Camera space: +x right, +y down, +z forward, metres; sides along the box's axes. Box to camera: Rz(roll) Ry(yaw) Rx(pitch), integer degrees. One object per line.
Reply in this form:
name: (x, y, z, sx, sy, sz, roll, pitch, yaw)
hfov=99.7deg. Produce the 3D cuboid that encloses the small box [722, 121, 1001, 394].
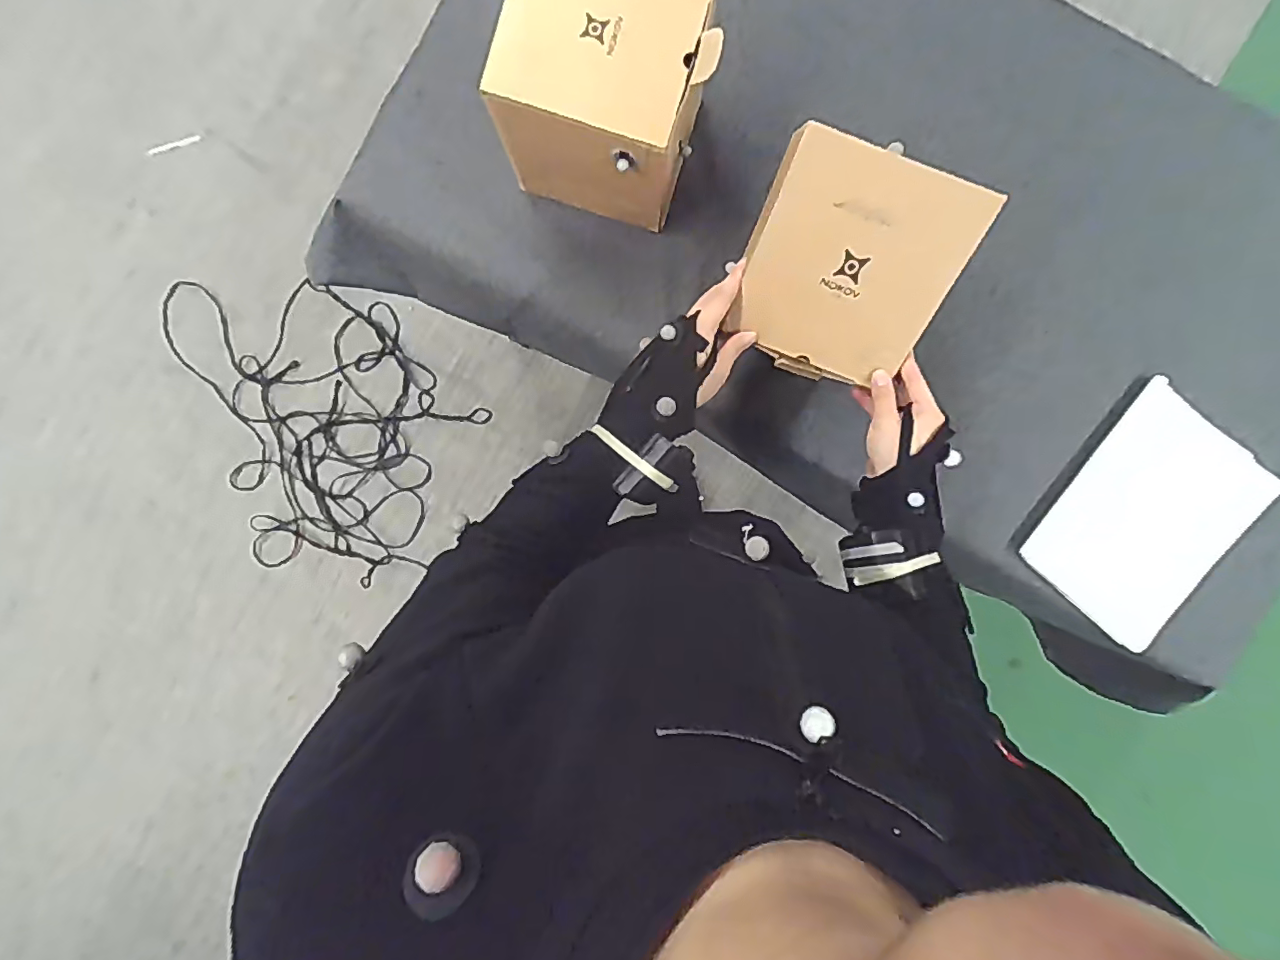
small box: (0.191, -0.214, 0.524, 0.168, 0.176, 0.179, 20, 120, -1)

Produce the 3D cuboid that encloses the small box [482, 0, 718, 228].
small box: (-0.035, -0.389, 0.554, 0.179, 0.176, 0.168, 16, 90, -2)
